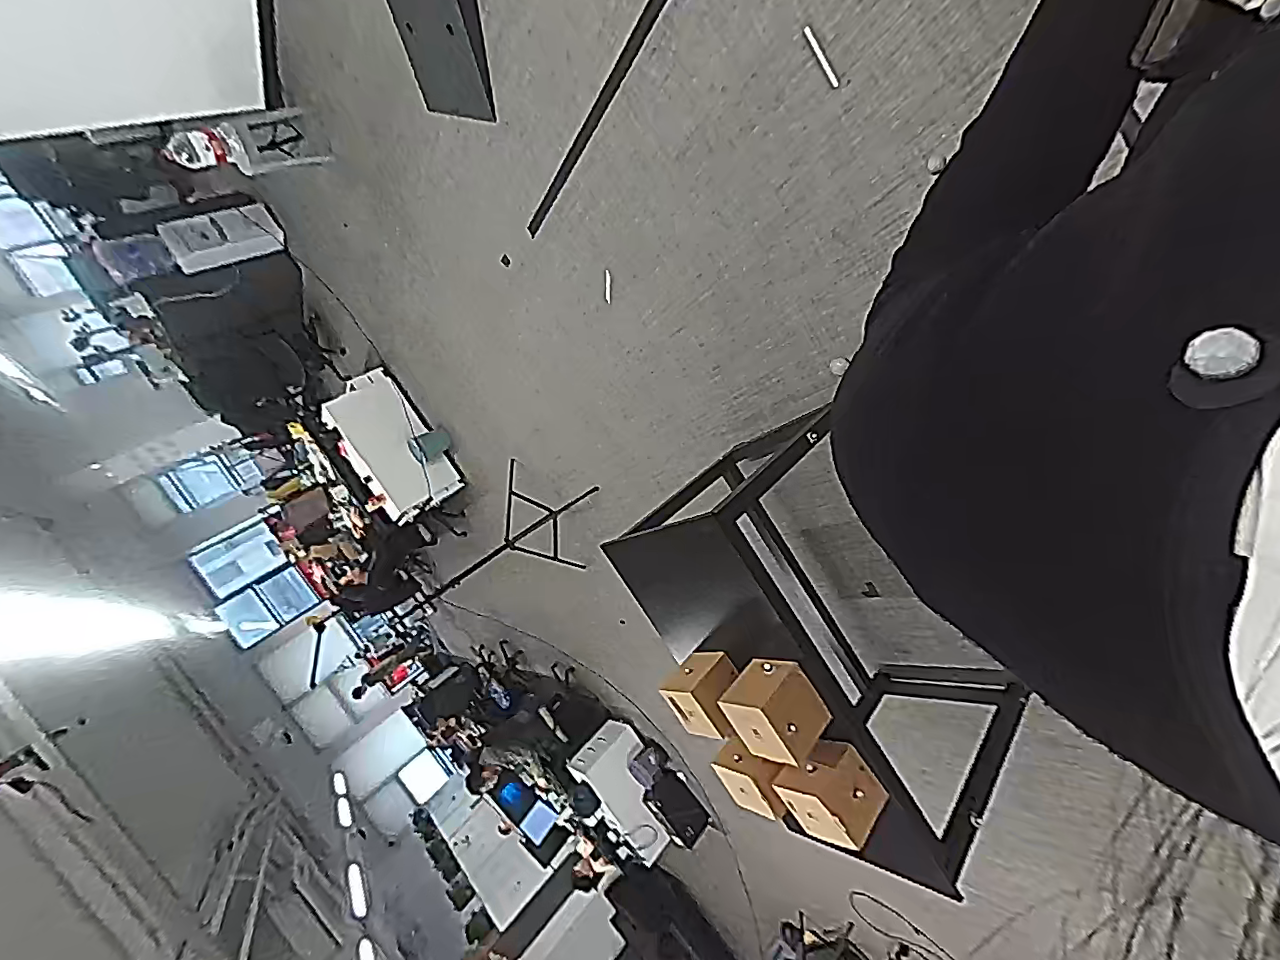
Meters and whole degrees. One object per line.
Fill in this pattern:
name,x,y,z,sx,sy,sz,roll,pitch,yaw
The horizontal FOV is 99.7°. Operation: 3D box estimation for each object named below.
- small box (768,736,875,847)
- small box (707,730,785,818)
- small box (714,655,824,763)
small box,0.472,0.784,1.382,0.168,0.176,0.179,54,147,0
small box,0.342,0.852,1.610,0.168,0.176,0.179,58,147,-7
small box,0.329,0.570,1.367,0.179,0.176,0.168,57,147,-4
